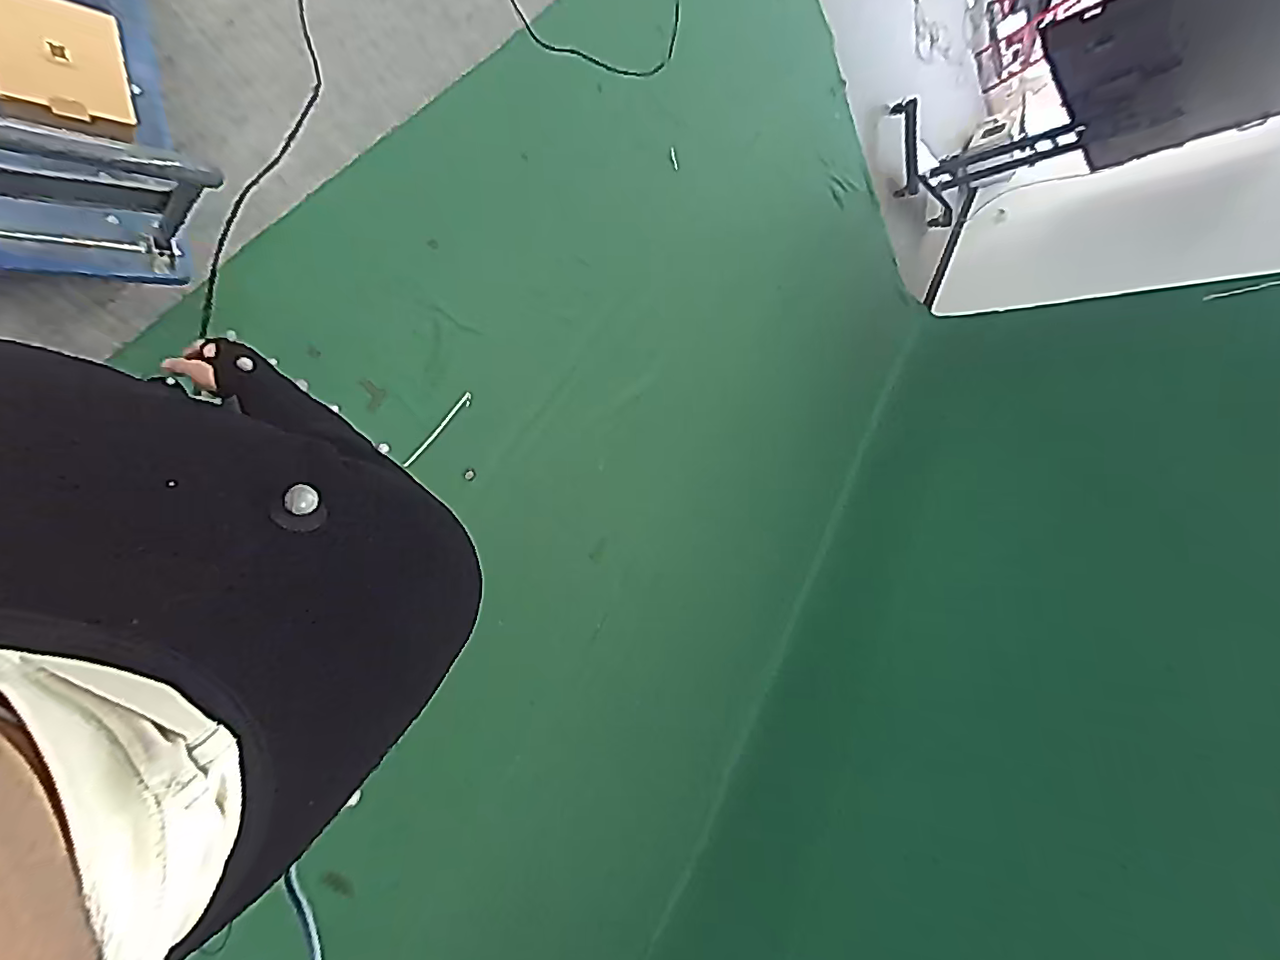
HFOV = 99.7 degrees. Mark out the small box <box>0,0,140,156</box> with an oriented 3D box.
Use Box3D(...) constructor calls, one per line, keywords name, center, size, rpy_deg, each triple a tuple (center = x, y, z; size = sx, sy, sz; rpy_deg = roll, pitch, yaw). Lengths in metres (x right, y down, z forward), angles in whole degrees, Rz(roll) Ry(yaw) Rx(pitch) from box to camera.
Box3D(name="small box", center=(-1.002, -0.701, 0.940), size=(0.168, 0.176, 0.179), rpy_deg=(-13, 104, -43))
